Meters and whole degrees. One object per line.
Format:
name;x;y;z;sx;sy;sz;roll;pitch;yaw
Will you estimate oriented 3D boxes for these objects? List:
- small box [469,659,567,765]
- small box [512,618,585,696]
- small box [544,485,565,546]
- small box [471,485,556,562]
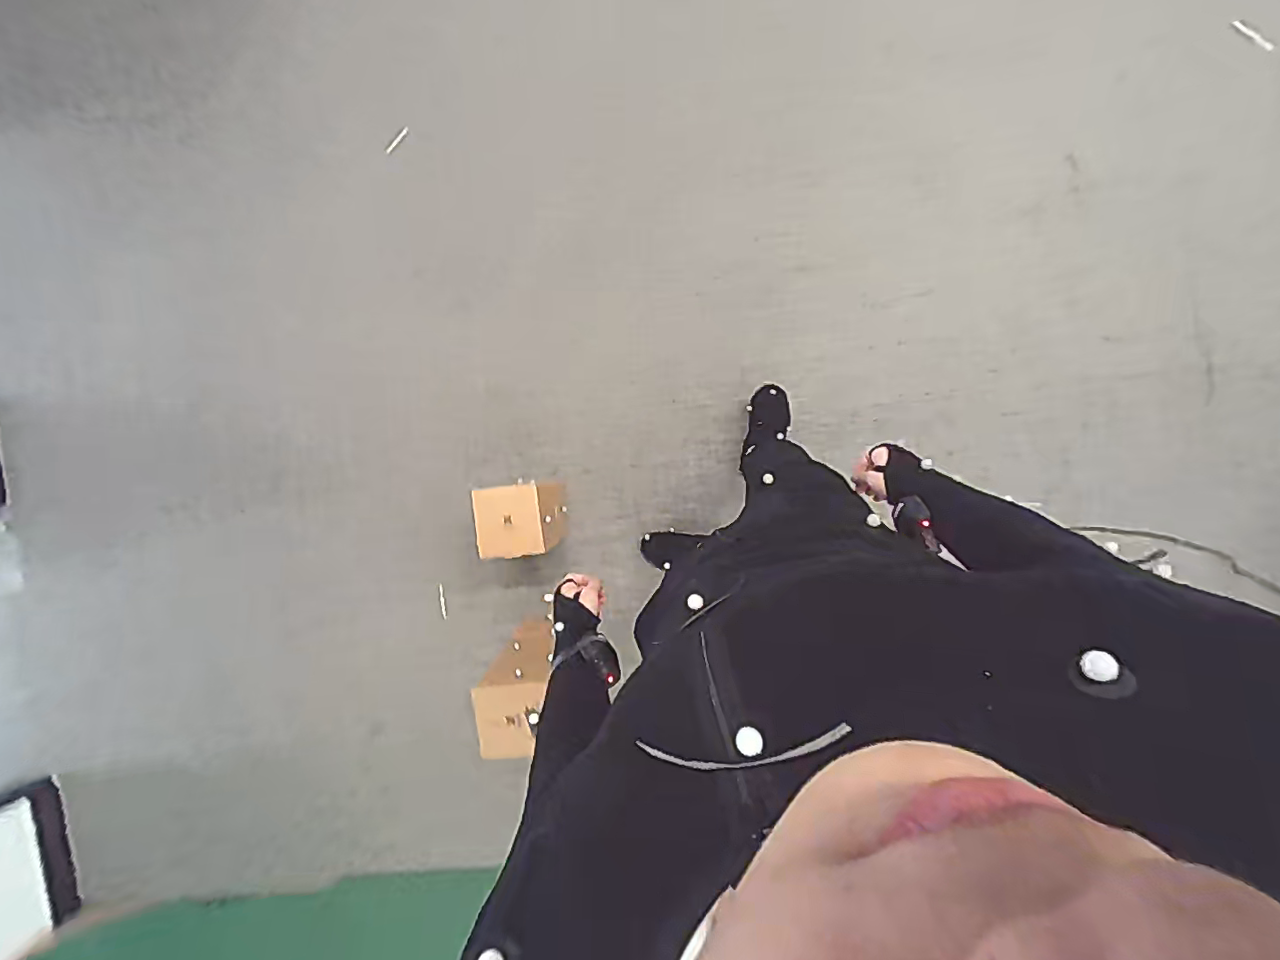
small box;-0.273;0.530;1.256;0.179;0.176;0.168;-8;91;5
small box;-0.262;0.519;1.584;0.168;0.176;0.179;-7;91;4
small box;-0.320;0.105;1.574;0.179;0.176;0.168;-5;91;3
small box;-0.324;0.107;1.412;0.168;0.176;0.179;-7;92;4
